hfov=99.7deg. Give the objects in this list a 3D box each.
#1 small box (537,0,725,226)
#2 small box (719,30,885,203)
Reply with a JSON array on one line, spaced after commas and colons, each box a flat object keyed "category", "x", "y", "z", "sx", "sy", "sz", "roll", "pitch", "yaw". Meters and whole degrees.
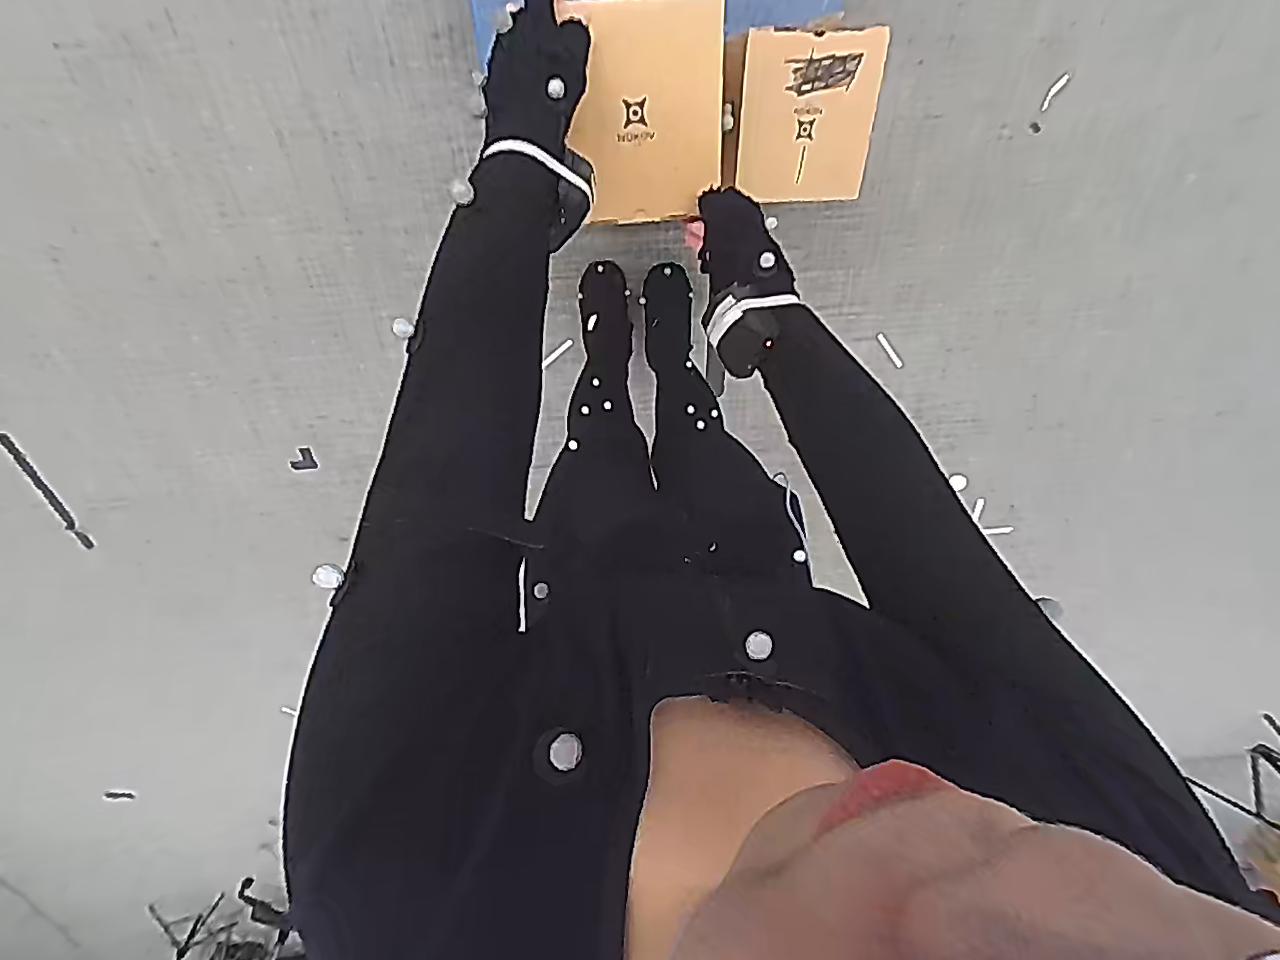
[{"category": "small box", "x": -0.010, "y": -0.381, "z": 0.572, "sx": 0.168, "sy": 0.176, "sz": 0.179, "roll": -5, "pitch": 124, "yaw": -1}, {"category": "small box", "x": 0.193, "y": -0.477, "z": 0.720, "sx": 0.168, "sy": 0.176, "sz": 0.179, "roll": -2, "pitch": 126, "yaw": -2}]
